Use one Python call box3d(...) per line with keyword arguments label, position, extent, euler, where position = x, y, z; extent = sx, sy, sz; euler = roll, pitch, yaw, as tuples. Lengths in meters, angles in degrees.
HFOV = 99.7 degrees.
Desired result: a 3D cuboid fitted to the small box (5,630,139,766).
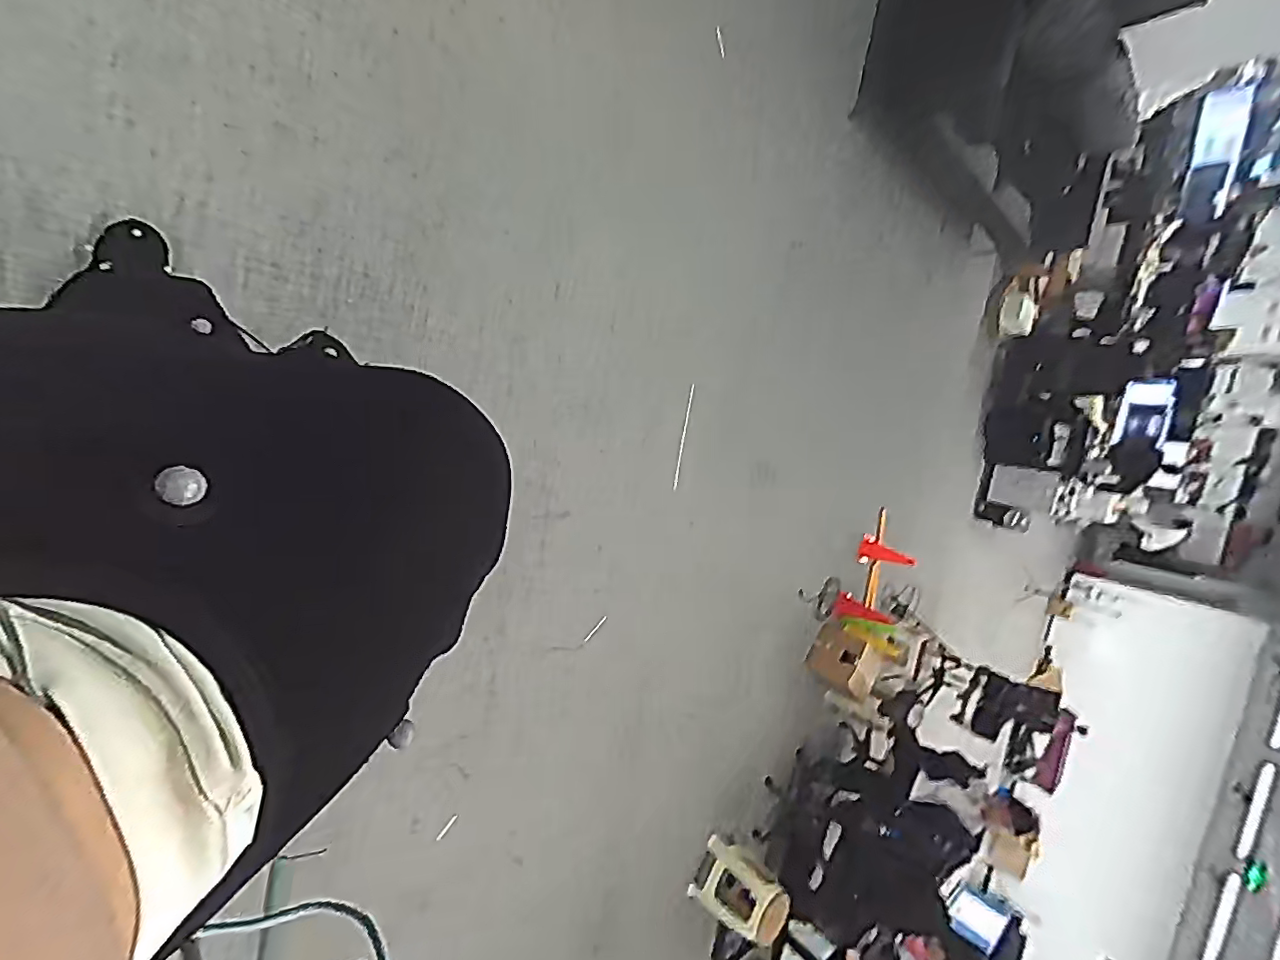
box3d(label="small box", position=(-1.086, 0.404, 1.043), extent=(0.168, 0.176, 0.179), euler=(3, 99, -43))
